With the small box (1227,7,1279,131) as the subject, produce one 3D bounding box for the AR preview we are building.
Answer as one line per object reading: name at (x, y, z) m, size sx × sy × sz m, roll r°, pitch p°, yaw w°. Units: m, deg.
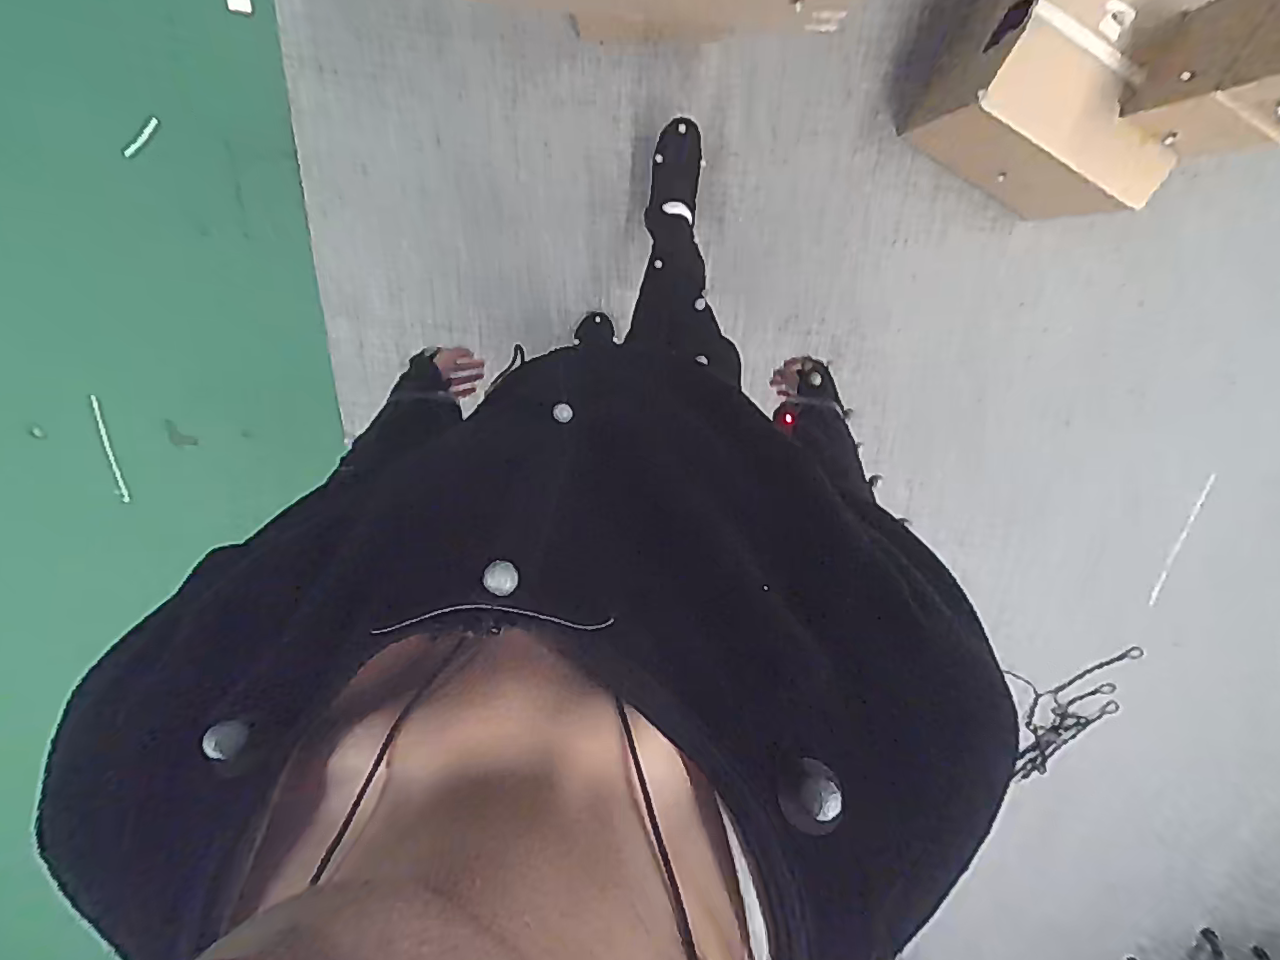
small box at (0.978, -0.601, 0.721) m, size 0.168 × 0.176 × 0.179 m, roll 20°, pitch 111°, yaw -9°
